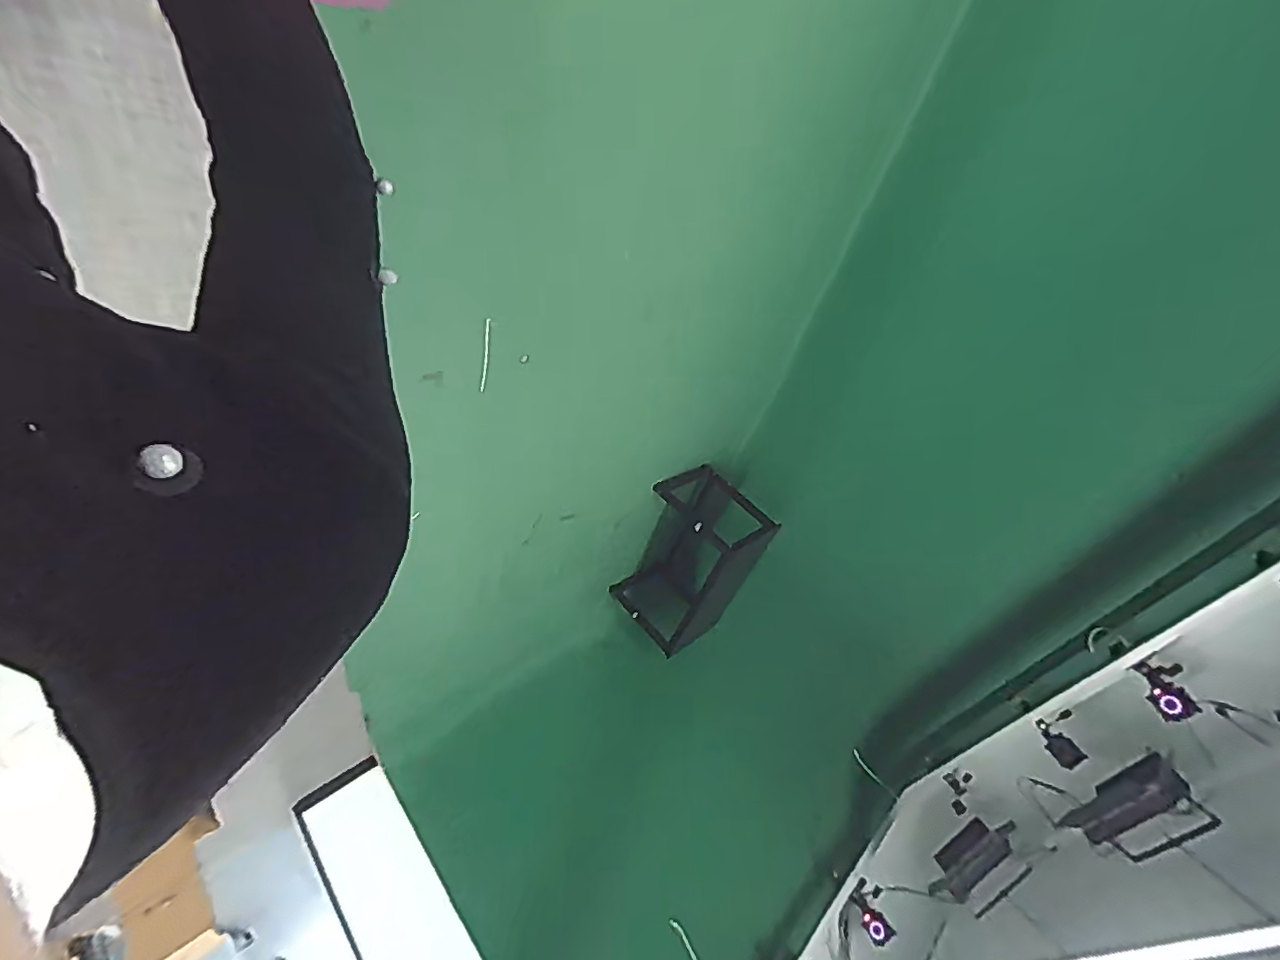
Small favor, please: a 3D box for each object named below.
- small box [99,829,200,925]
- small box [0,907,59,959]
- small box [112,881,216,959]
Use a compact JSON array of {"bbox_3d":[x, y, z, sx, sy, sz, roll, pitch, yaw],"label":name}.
[{"bbox_3d":[-1.410,1.155,1.559,0.168,0.176,0.179,-23,145,-41],"label":"small box"},{"bbox_3d":[-1.615,1.227,1.358,0.168,0.176,0.179,-22,145,-40],"label":"small box"},{"bbox_3d":[-1.303,1.254,1.486,0.168,0.176,0.179,-22,145,-42],"label":"small box"}]
